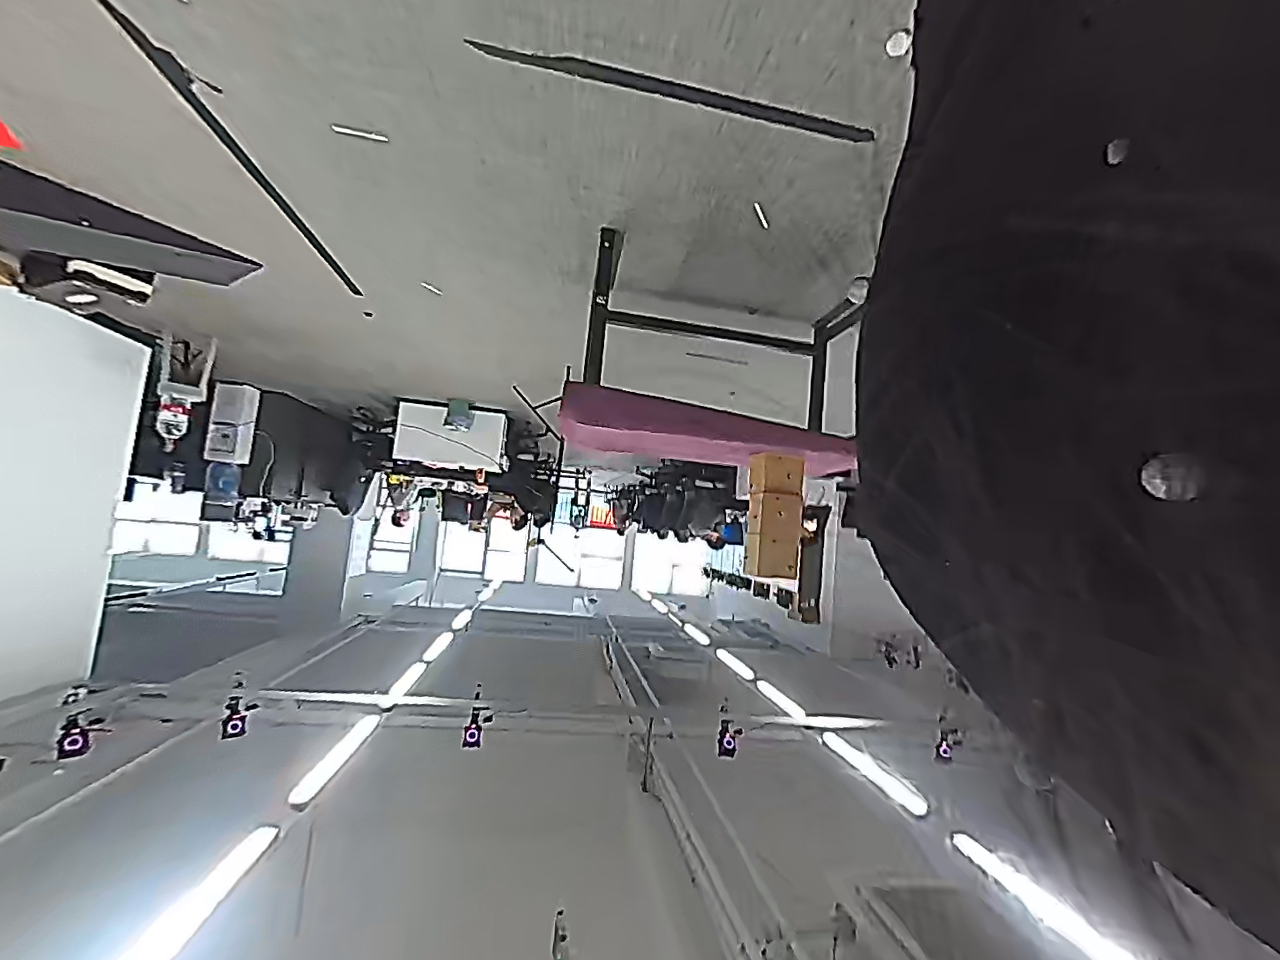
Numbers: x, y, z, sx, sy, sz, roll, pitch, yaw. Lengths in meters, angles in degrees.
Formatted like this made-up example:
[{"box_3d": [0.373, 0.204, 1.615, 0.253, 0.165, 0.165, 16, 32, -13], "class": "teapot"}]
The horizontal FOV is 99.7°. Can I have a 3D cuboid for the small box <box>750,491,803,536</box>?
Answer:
[{"box_3d": [0.551, 0.135, 2.181, 0.168, 0.176, 0.179, 6, 175, -4], "class": "small box"}]

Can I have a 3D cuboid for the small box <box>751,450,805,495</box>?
[{"box_3d": [0.567, -0.025, 2.217, 0.168, 0.176, 0.179, 6, 175, -8], "class": "small box"}]
